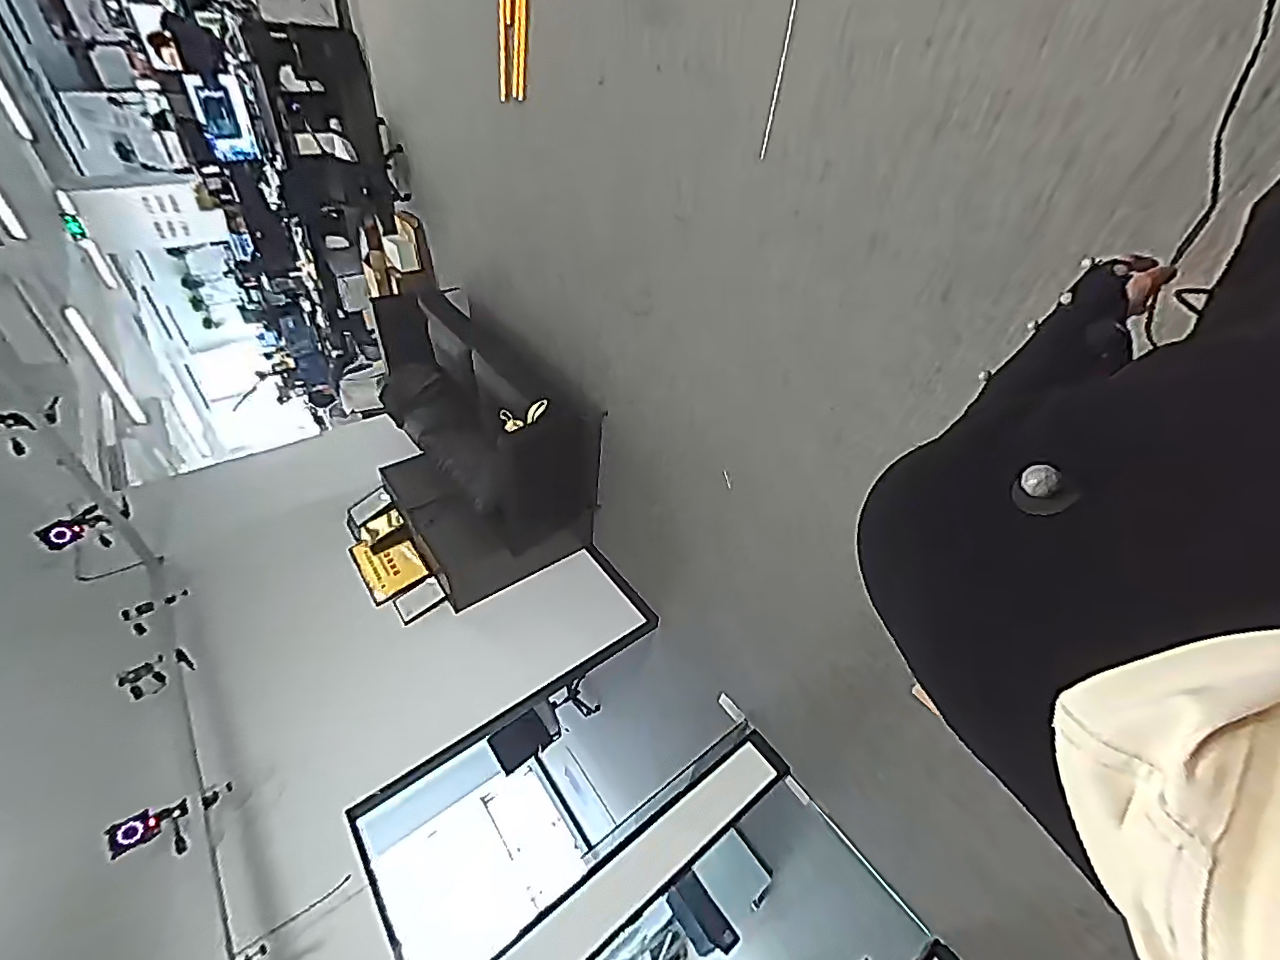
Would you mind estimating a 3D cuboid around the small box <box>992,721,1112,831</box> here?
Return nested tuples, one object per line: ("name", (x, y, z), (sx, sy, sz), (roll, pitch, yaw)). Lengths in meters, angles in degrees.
("small box", (1.100, 0.784, 1.441), (0.168, 0.176, 0.179), (44, 145, 32))
